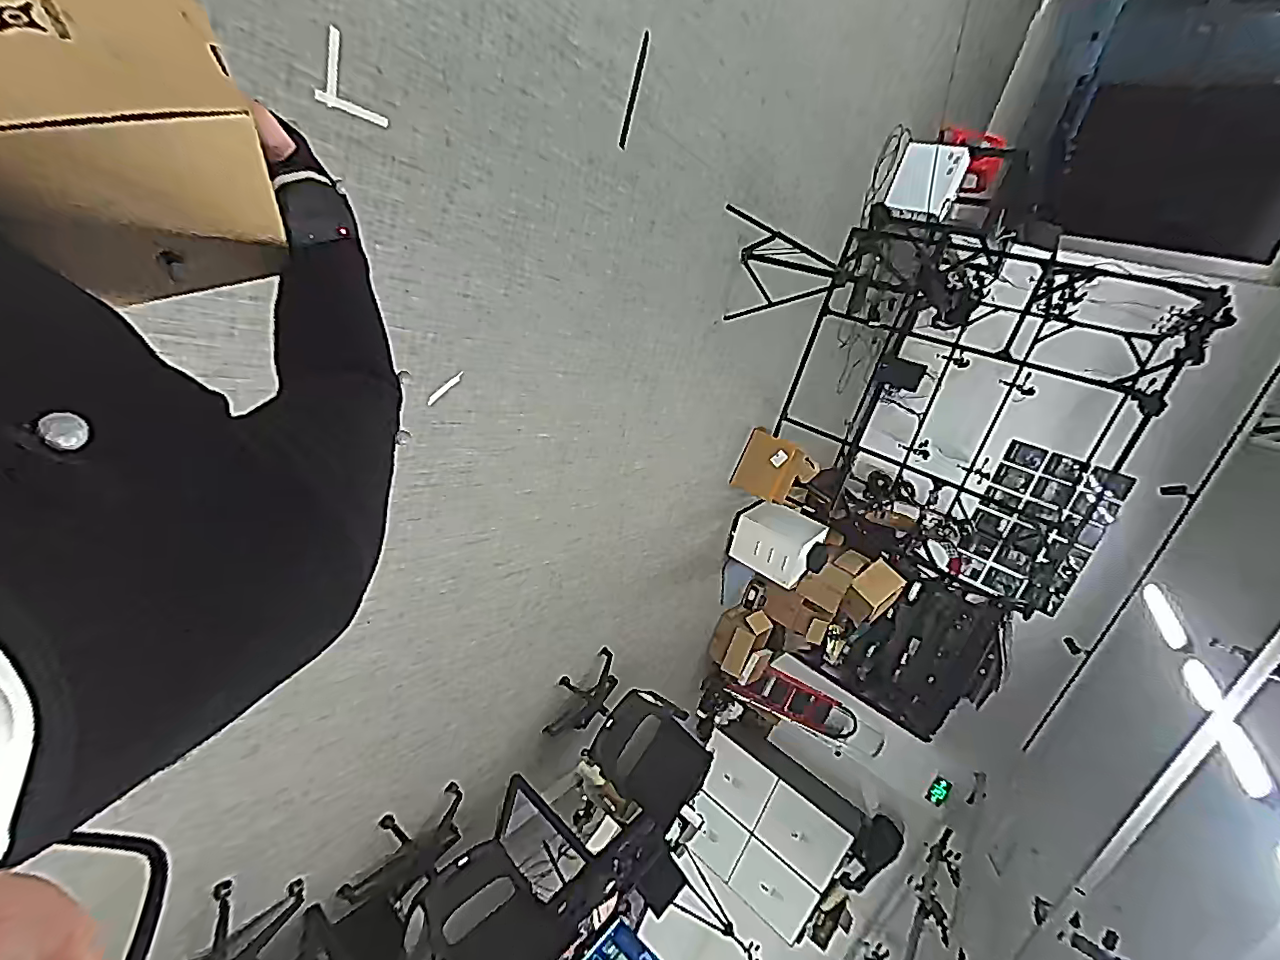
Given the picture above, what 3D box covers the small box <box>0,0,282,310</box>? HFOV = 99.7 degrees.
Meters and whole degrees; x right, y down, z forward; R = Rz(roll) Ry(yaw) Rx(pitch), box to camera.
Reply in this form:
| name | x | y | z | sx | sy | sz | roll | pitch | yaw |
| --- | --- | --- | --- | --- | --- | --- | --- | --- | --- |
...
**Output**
| name | x | y | z | sx | sy | sz | roll | pitch | yaw |
| --- | --- | --- | --- | --- | --- | --- | --- | --- | --- |
| small box | -0.414 | -0.265 | 0.427 | 0.179 | 0.168 | 0.176 | -28 | 173 | -29 |
